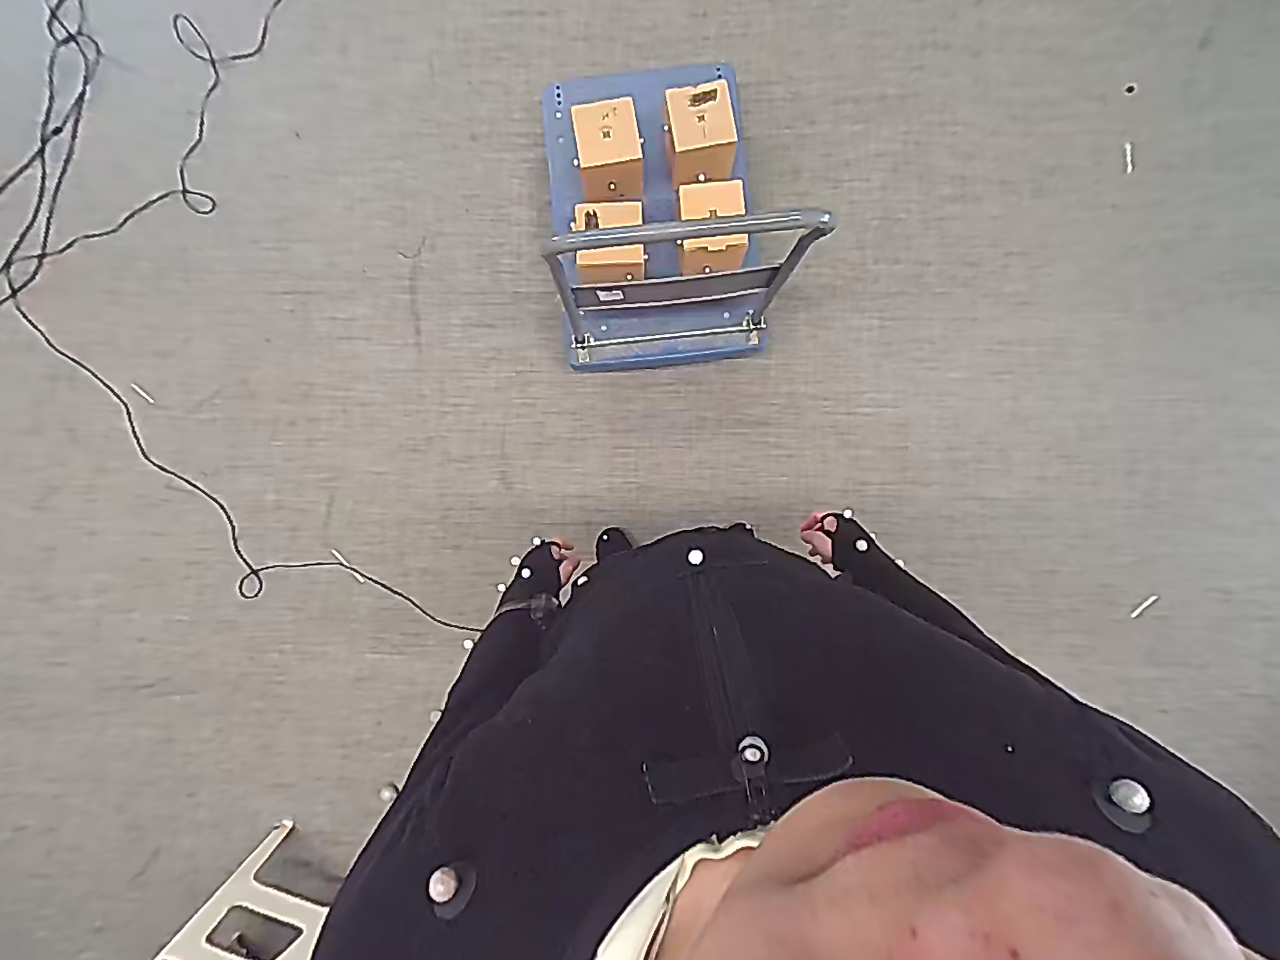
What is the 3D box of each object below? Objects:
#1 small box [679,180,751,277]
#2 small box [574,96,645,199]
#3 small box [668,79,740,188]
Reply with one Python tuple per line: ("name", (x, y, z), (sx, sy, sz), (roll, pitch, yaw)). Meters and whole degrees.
("small box", (0.196, -0.672, 1.460), (0.168, 0.176, 0.179), (-5, 86, 1))
("small box", (-0.079, -0.898, 1.482), (0.168, 0.176, 0.179), (-9, 86, 0))
("small box", (0.169, -0.941, 1.480), (0.168, 0.176, 0.179), (-9, 87, 1))
